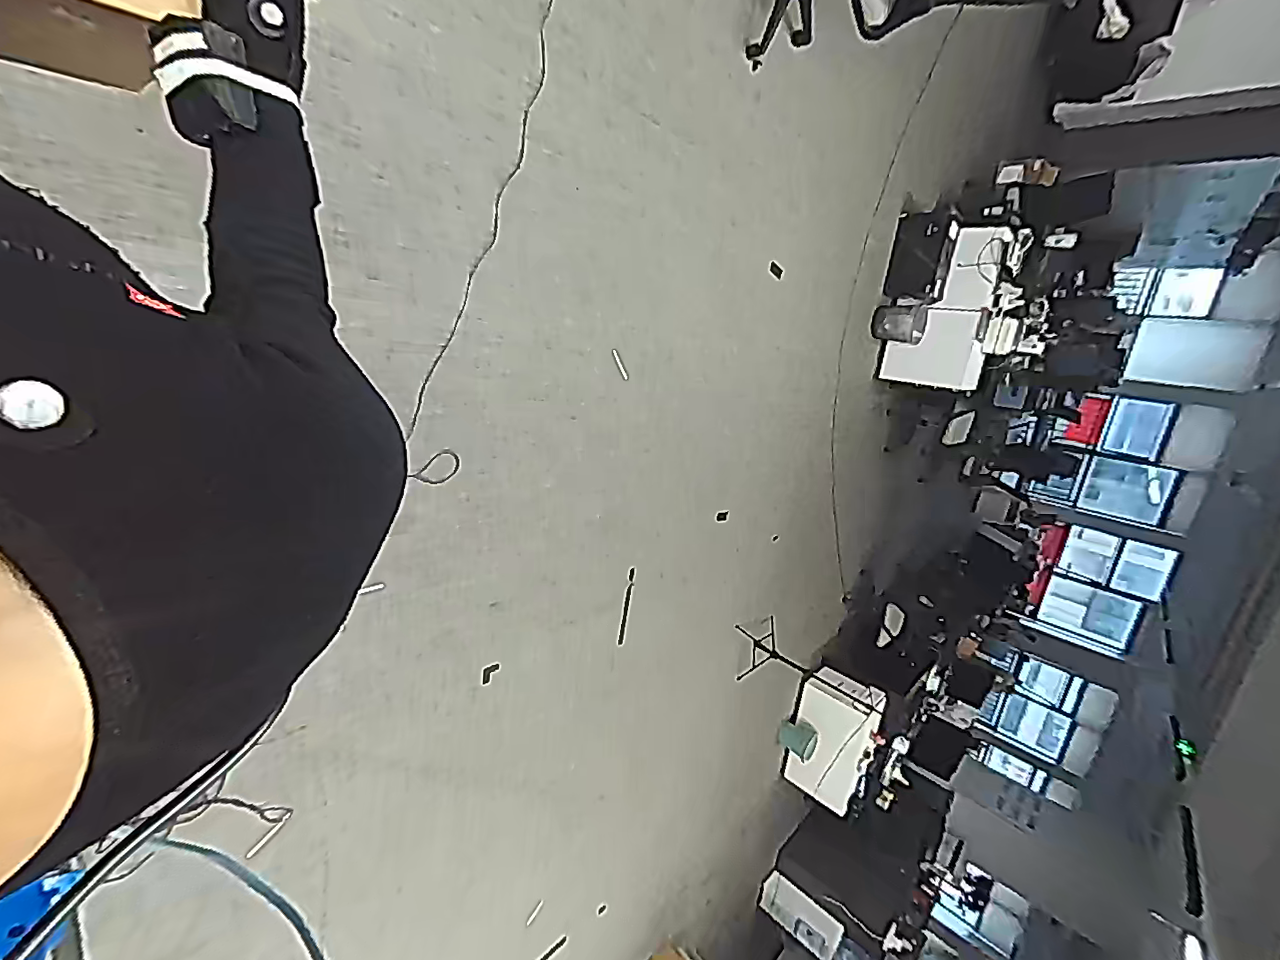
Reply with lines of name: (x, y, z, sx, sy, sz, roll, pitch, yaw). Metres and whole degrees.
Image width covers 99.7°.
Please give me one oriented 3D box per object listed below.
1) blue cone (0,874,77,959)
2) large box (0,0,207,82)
blue cone: (-1.288, 1.026, 1.094, 0.193, 0.380, 0.192, 23, 88, -49)
large box: (-0.546, -0.477, 0.291, 0.408, 0.320, 0.320, -17, 120, -47)
